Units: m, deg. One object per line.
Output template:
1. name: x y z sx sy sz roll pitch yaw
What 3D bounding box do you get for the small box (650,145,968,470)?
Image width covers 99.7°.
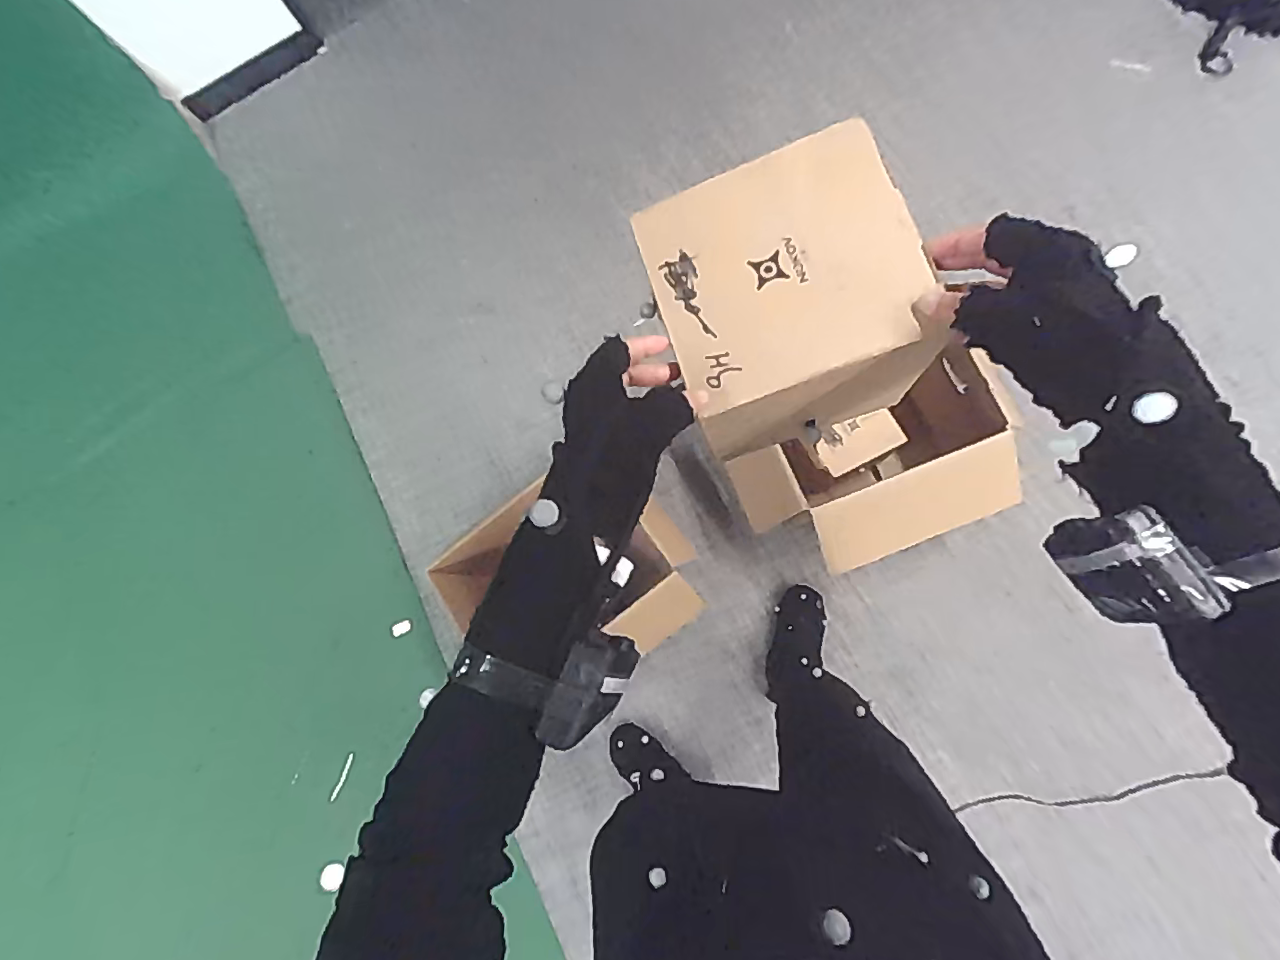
1. small box: 0.124 -0.123 0.454 0.179 0.176 0.168 -20 76 7
